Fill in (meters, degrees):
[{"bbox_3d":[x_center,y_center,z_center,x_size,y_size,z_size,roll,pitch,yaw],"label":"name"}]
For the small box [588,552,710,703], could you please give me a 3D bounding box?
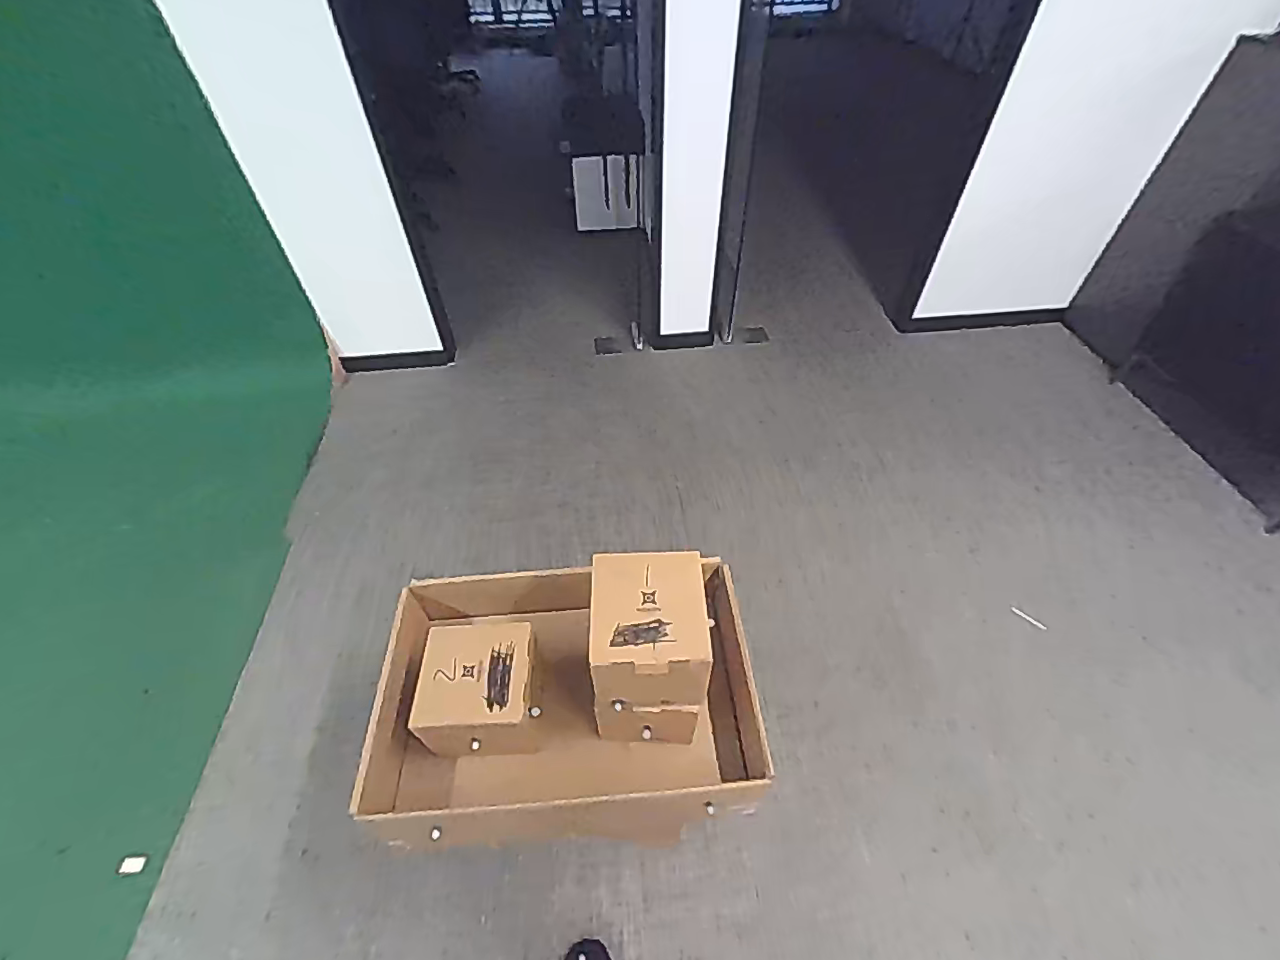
[{"bbox_3d":[0.013,0.230,0.827,0.168,0.176,0.179,-1,48,-1],"label":"small box"}]
